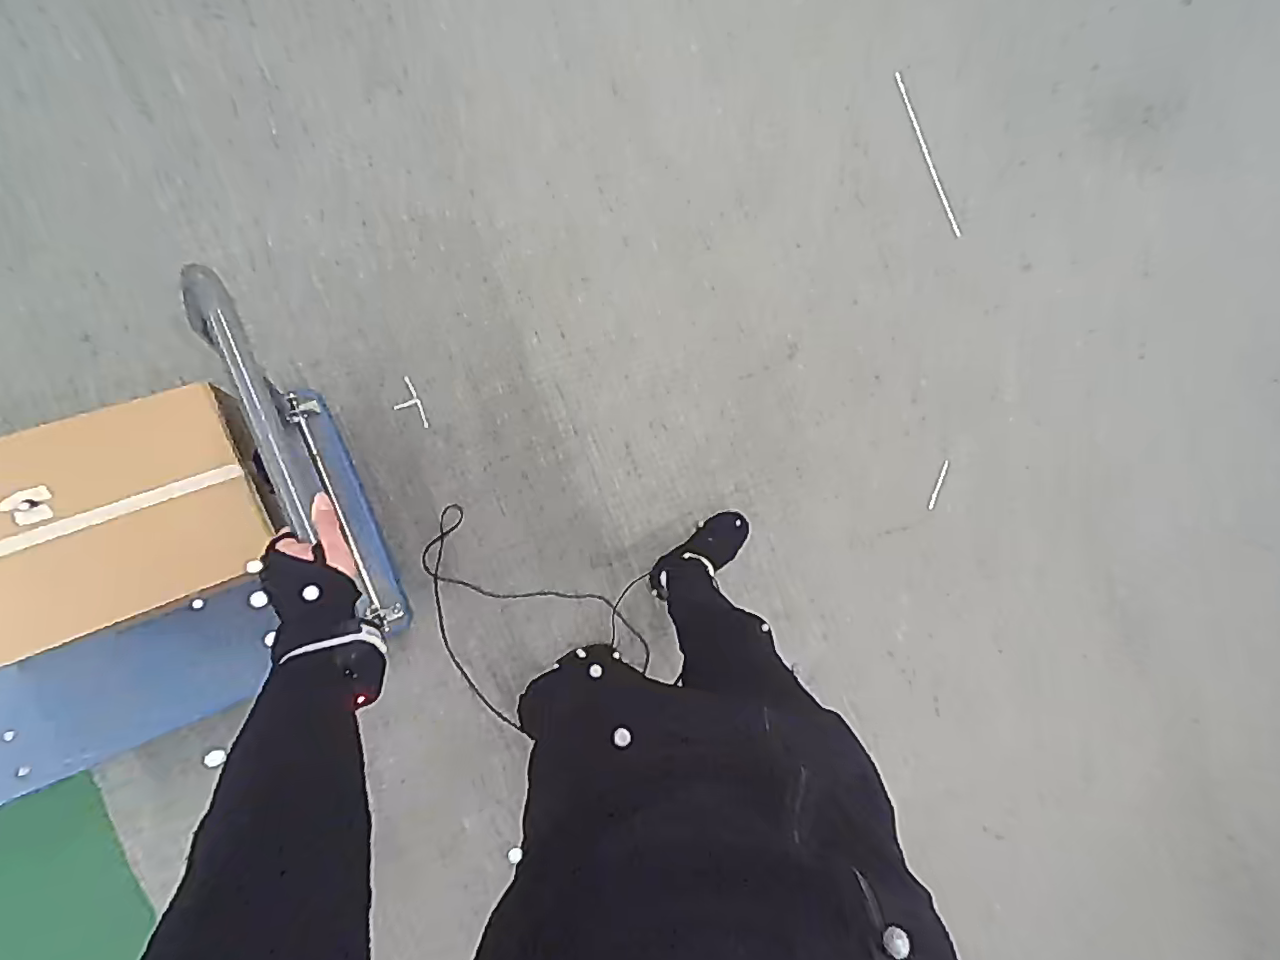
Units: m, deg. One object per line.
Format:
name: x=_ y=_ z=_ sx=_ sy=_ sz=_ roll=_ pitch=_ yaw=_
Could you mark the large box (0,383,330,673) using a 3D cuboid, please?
large box: x=-0.844 y=0.068 z=0.950 sx=0.408 sy=0.320 sz=0.320 roll=-23 pitch=92 yaw=-19
